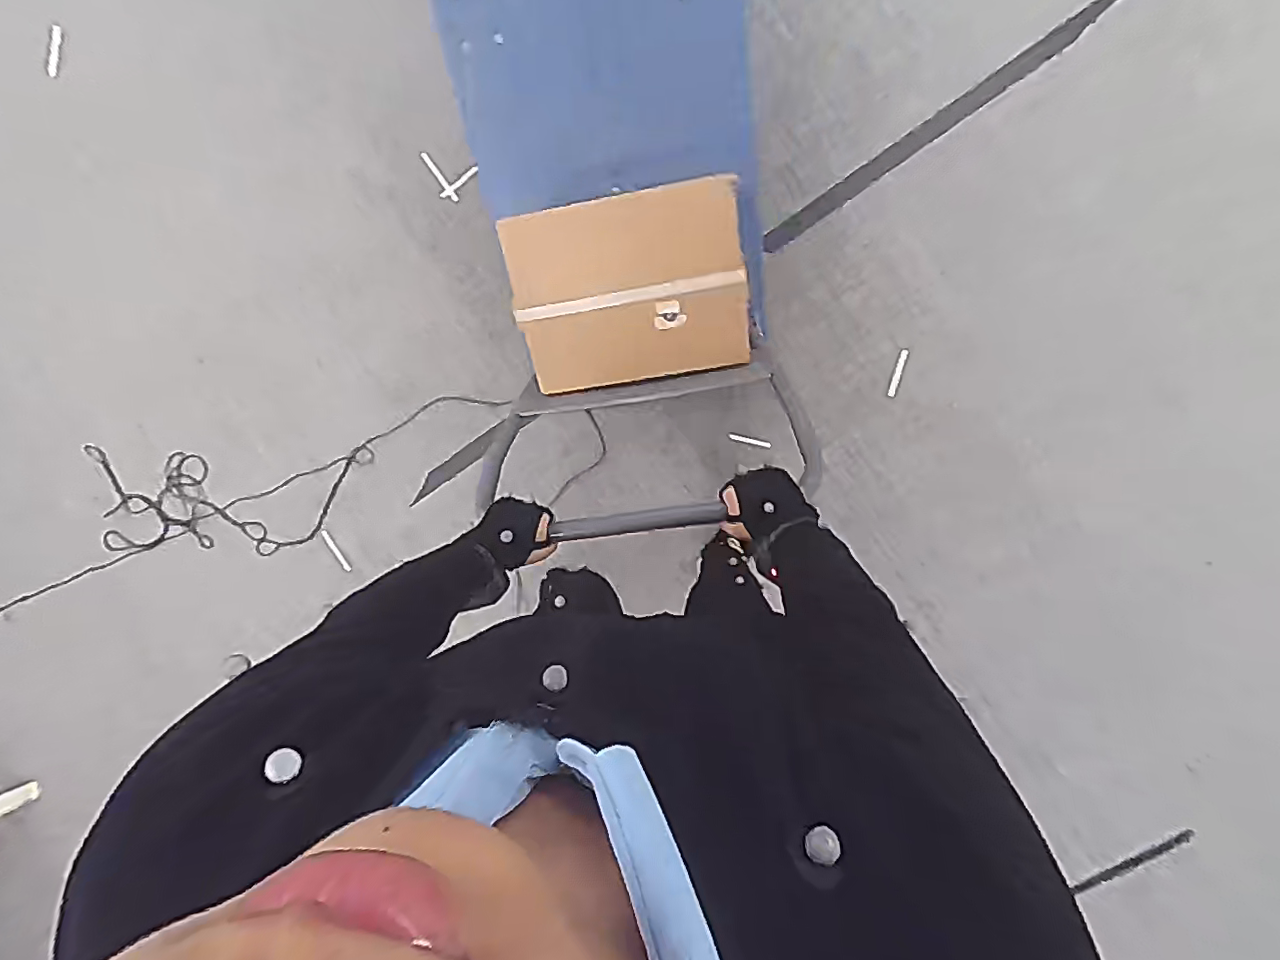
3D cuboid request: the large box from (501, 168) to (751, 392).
[{"bbox_3d":[-0.015,-0.405,1.102,0.408,0.320,0.320,-10,117,6],"label":"large box"}]
